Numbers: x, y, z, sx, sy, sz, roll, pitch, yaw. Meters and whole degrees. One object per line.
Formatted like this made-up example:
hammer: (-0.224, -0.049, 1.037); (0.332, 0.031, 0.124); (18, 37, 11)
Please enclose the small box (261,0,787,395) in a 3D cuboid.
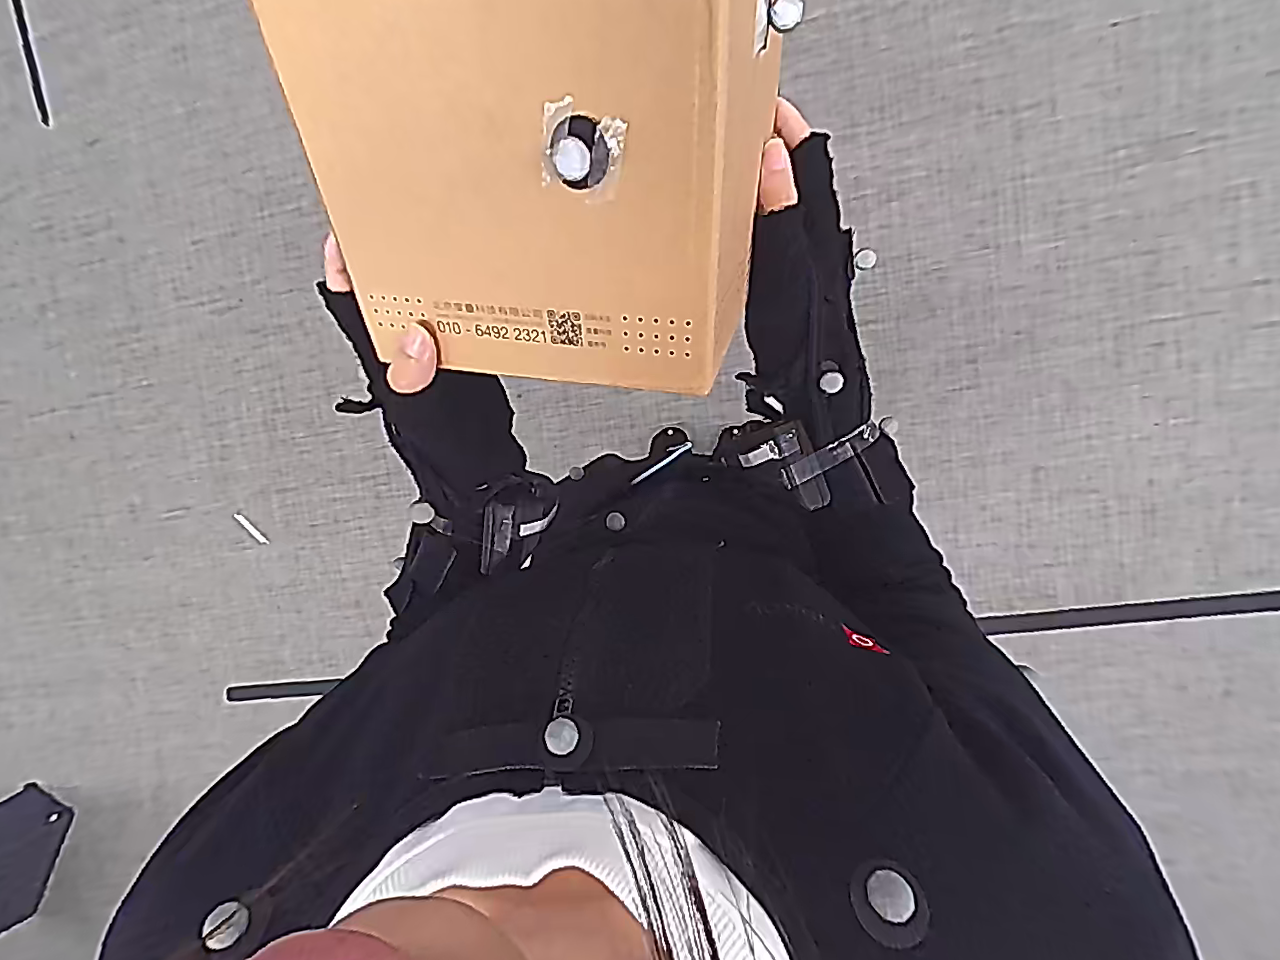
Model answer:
small box: (-0.025, -0.158, 0.263); (0.168, 0.179, 0.176); (10, 130, 15)
